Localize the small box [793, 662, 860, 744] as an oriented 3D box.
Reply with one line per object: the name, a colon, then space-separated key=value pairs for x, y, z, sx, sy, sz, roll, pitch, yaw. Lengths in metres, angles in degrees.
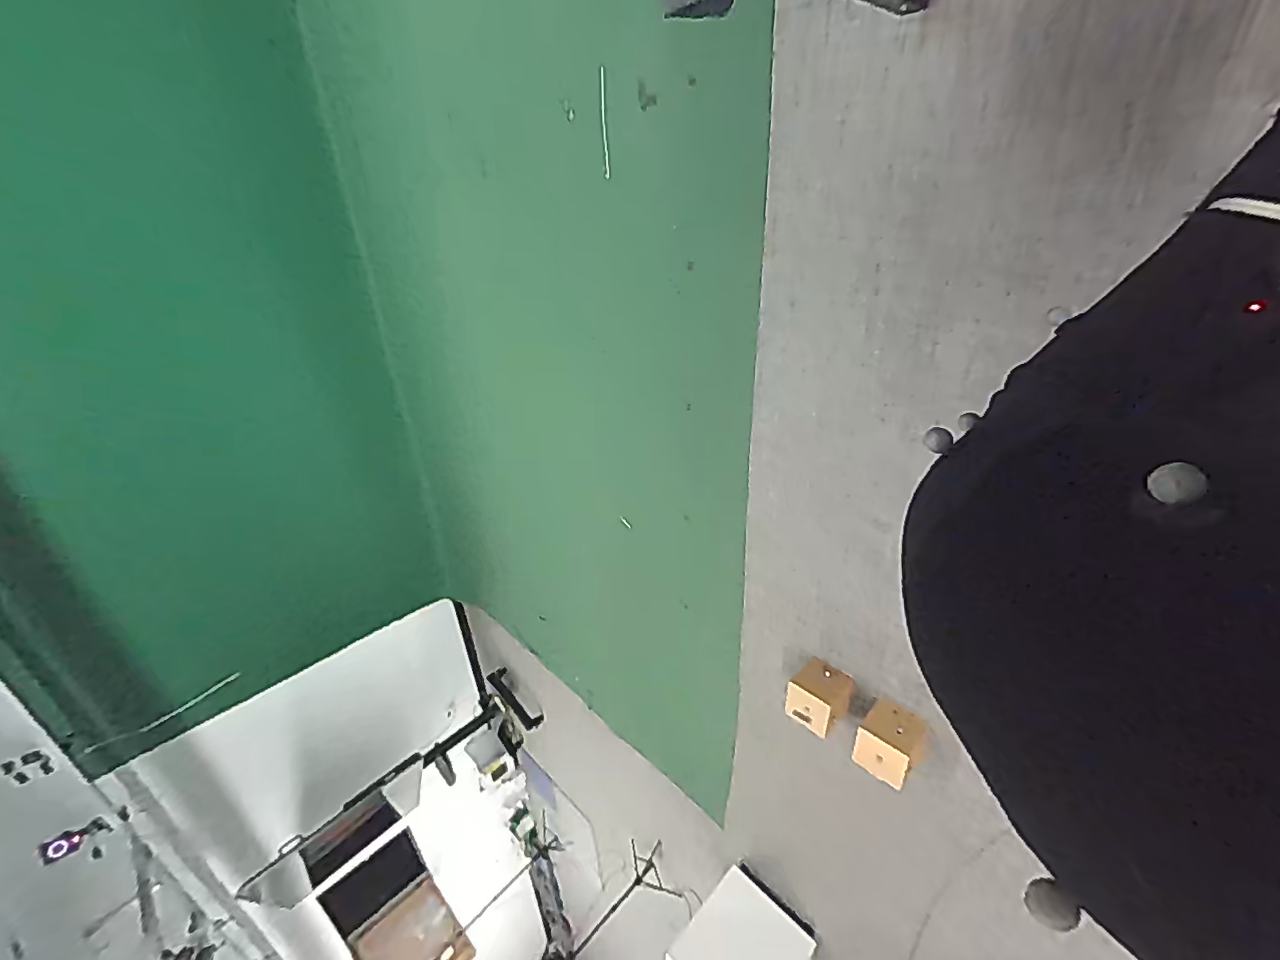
small box: x=0.678 y=0.802 z=1.961 sx=0.168 sy=0.176 sz=0.179 roll=24 pitch=127 yaw=41

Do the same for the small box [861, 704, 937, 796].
small box: x=0.862 y=0.887 z=1.794 sx=0.168 sy=0.176 sz=0.179 roll=23 pitch=127 yaw=41
